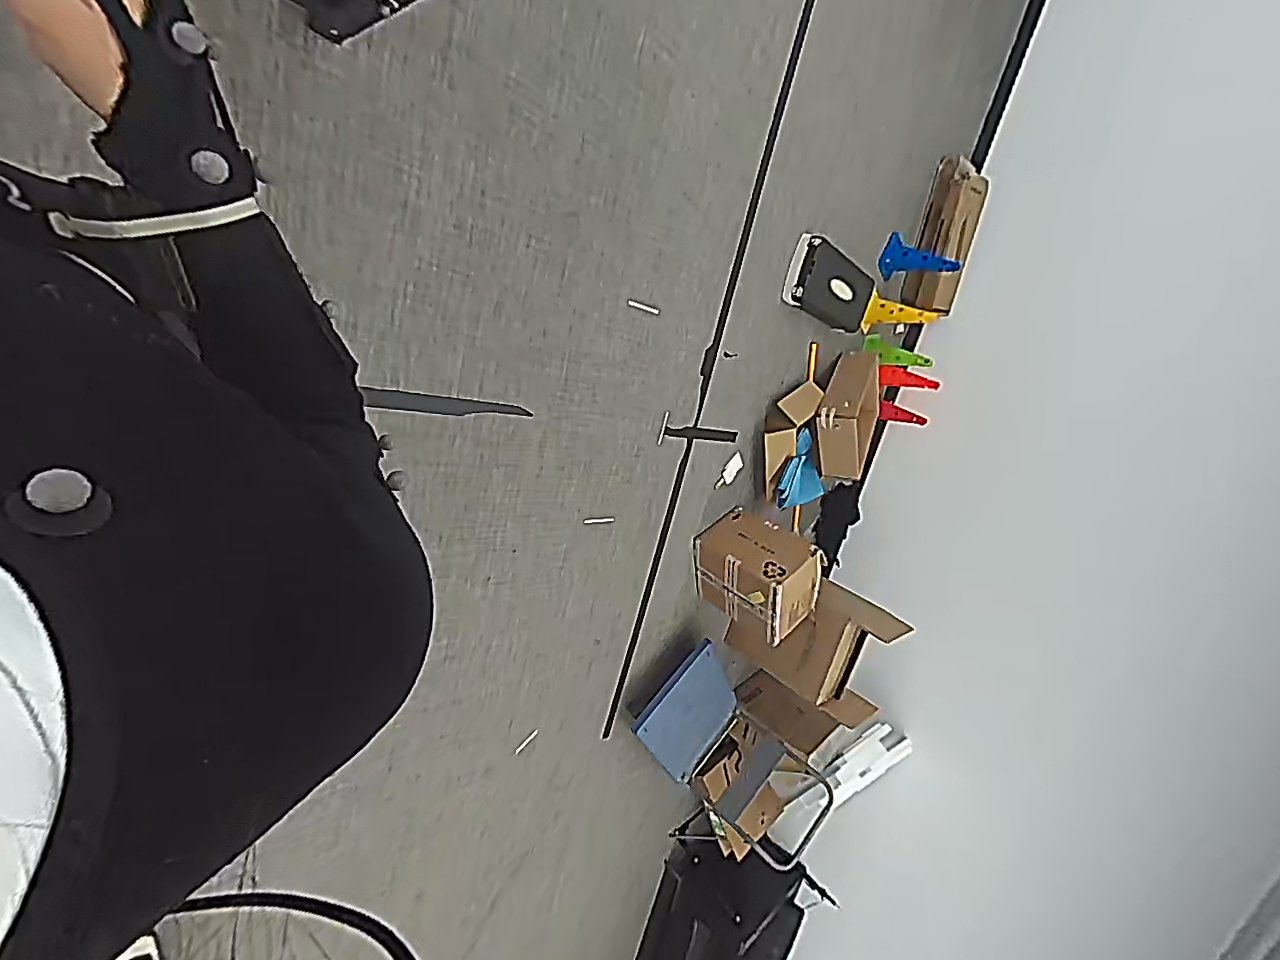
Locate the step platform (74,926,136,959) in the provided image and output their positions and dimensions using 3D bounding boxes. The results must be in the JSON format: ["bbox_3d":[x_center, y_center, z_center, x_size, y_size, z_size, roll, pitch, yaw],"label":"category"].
[{"bbox_3d":[-1.492,1.278,1.106,0.684,0.204,0.286,-1,112,-48],"label":"step platform"}]
